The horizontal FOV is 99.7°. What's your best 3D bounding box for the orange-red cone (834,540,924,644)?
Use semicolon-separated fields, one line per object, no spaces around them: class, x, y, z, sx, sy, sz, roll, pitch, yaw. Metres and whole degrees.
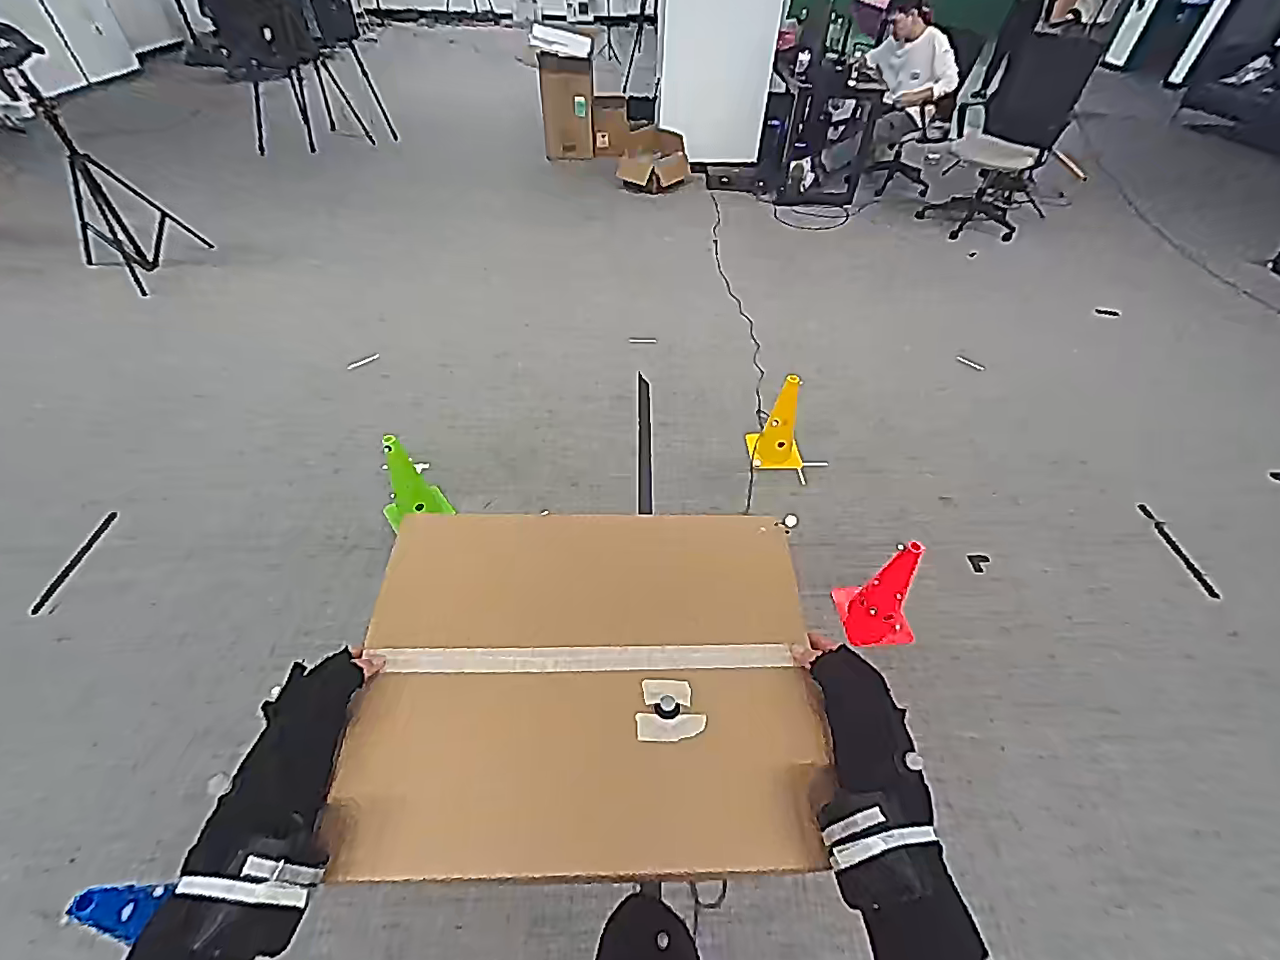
orange-red cone;0.718;0.292;1.542;0.198;0.360;0.199;-1;45;-4

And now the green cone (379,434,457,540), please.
green cone;-0.771;-0.010;1.778;0.202;0.368;0.200;-30;54;-25

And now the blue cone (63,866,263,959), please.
blue cone;-0.910;0.814;1.014;0.192;0.380;0.193;2;46;2

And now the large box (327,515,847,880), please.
large box;-0.048;0.251;0.615;0.408;0.320;0.320;1;53;-3
